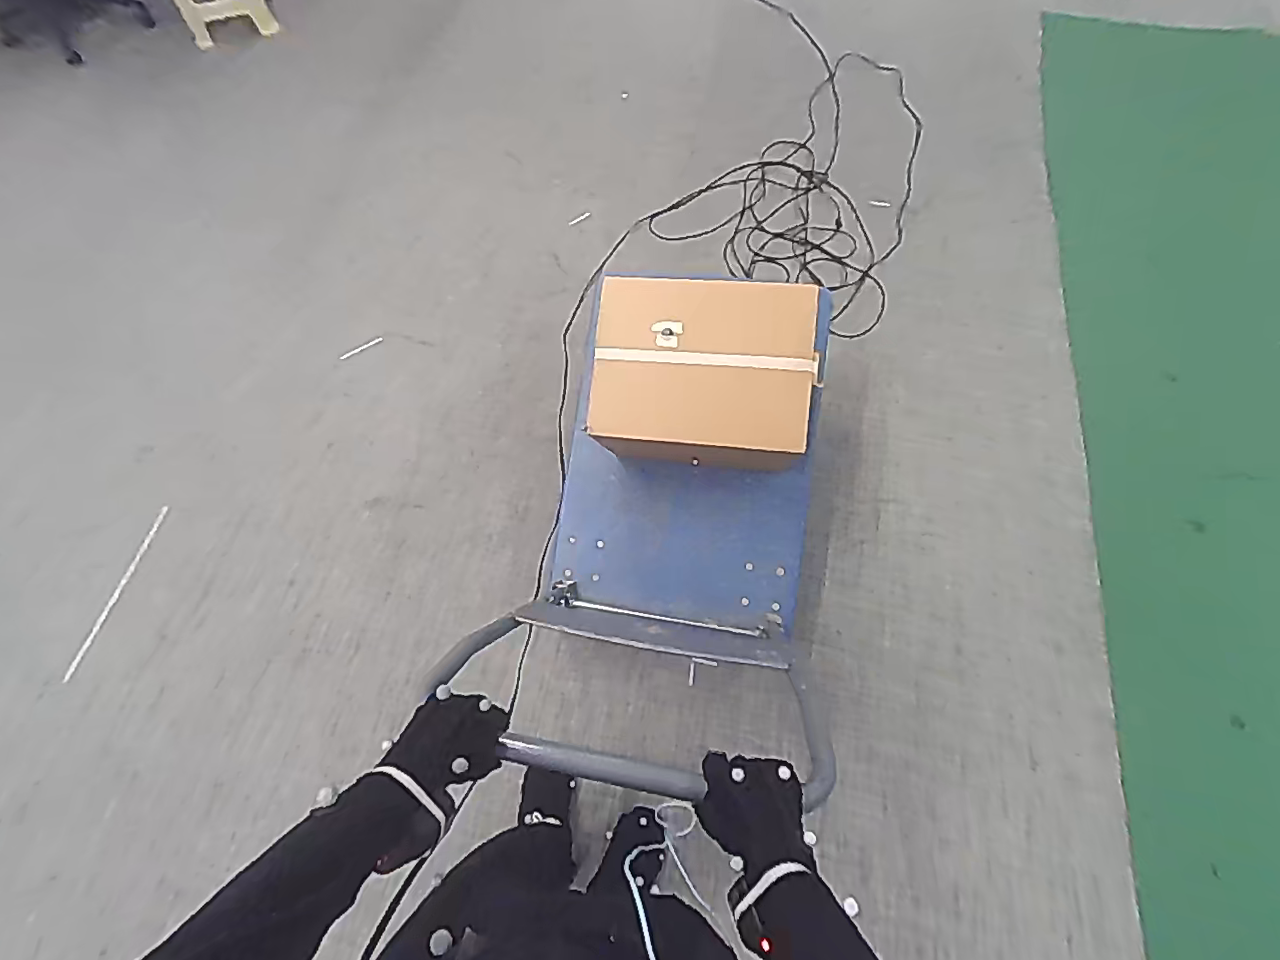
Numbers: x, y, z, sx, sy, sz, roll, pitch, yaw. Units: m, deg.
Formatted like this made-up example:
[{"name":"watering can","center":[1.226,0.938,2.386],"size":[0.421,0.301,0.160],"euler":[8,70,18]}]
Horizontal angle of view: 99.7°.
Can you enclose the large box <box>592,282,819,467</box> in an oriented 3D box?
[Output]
[{"name":"large box","center":[0.143,-0.204,1.141],"size":[0.408,0.320,0.320],"euler":[5,85,10]}]
